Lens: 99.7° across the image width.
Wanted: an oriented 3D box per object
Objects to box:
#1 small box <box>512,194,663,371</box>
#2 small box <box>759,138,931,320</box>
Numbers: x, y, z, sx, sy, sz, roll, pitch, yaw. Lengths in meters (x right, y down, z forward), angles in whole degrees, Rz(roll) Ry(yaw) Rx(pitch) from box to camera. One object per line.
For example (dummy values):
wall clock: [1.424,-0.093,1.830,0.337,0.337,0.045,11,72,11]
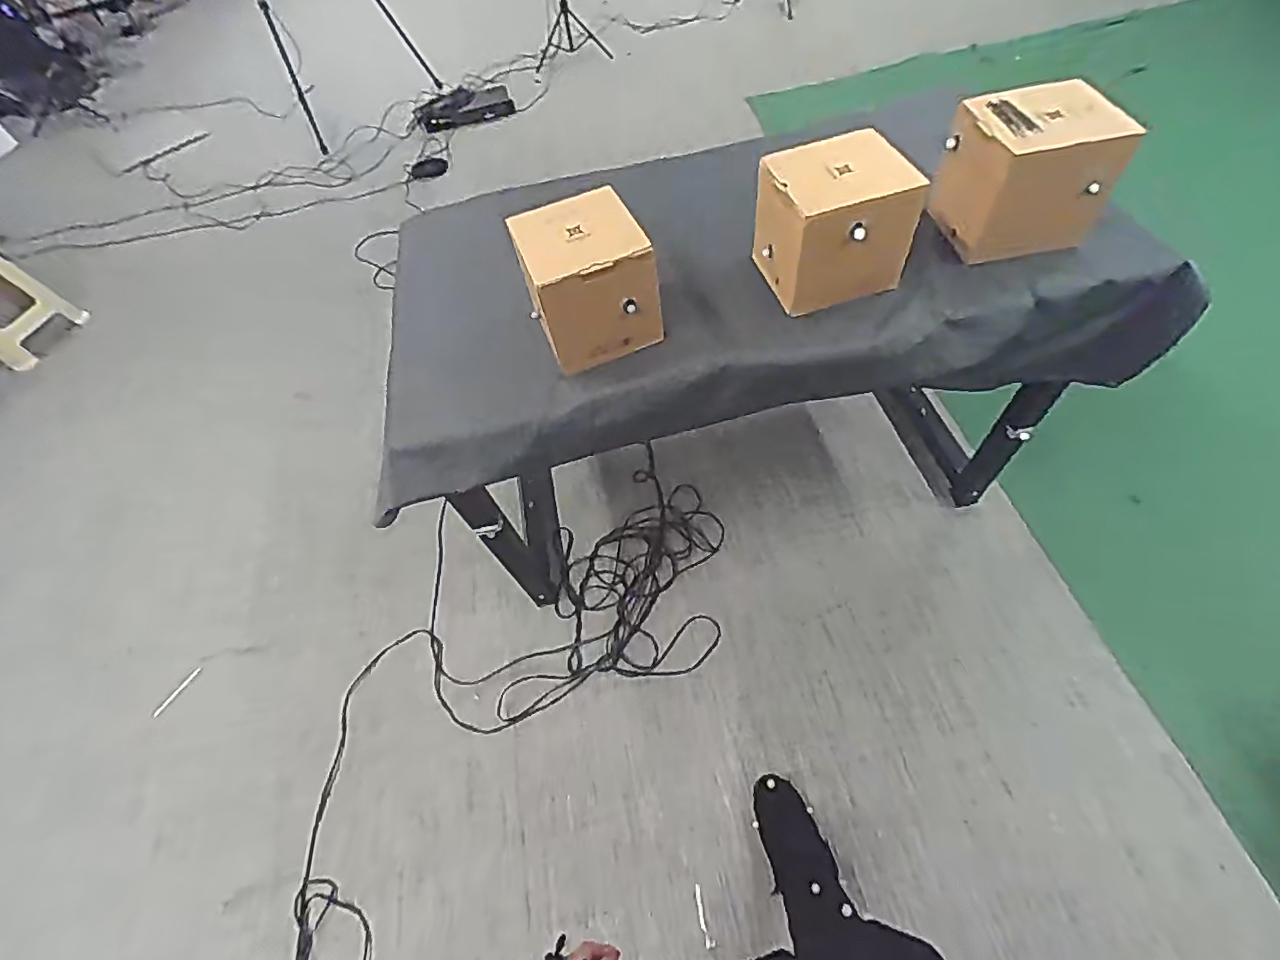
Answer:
small box: [-0.073,-0.287,0.811,0.168,0.176,0.179,-21,55,-7]
small box: [0.292,-0.372,0.815,0.179,0.176,0.168,-16,56,-1]
